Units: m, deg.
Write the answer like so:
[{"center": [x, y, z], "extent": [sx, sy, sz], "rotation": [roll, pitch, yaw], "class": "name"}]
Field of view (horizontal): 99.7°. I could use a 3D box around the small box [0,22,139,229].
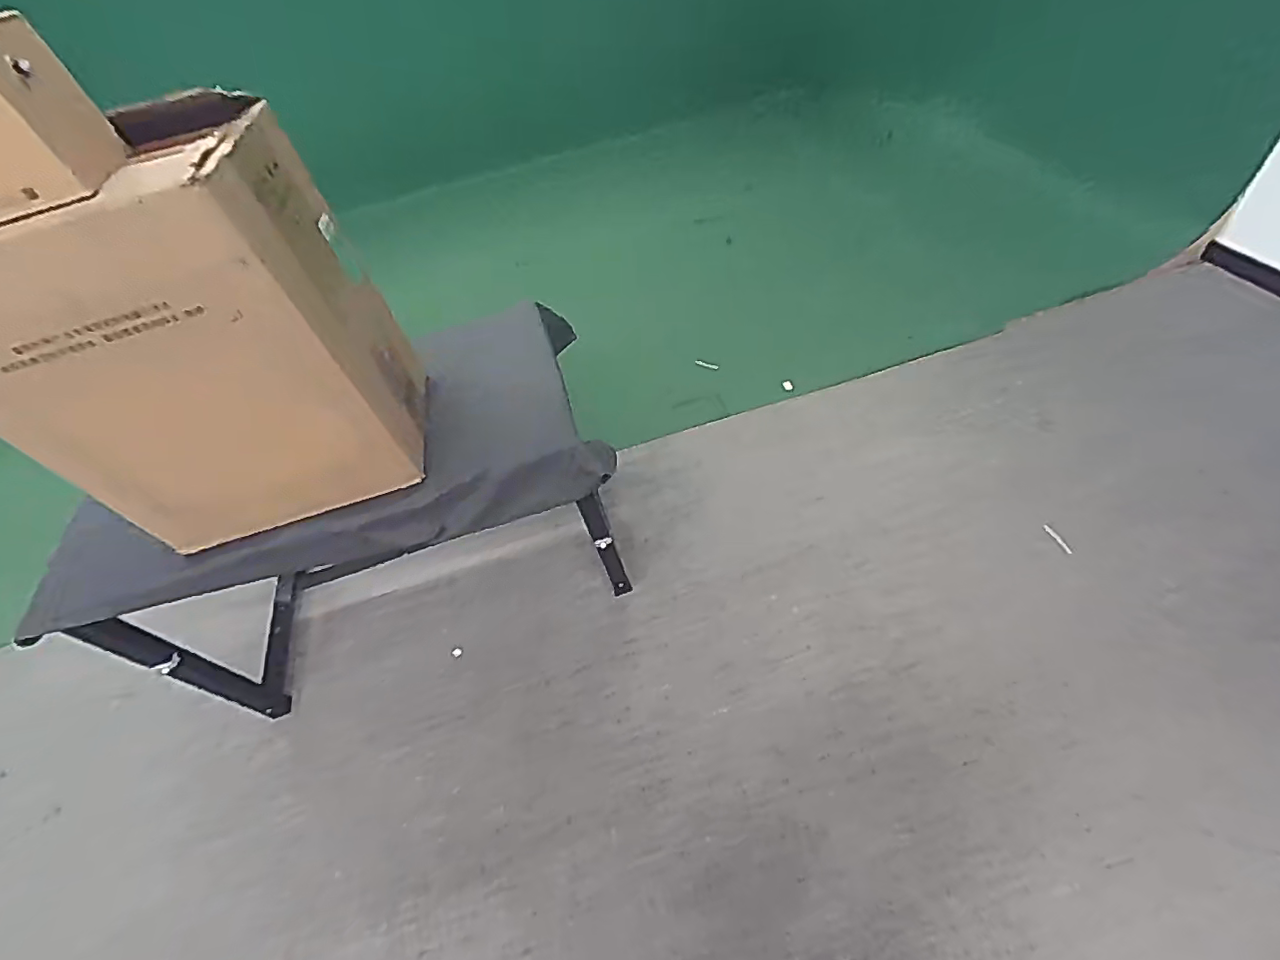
[{"center": [-0.812, -0.448, 0.697], "extent": [0.168, 0.176, 0.179], "rotation": [-19, 50, -3], "class": "small box"}]
